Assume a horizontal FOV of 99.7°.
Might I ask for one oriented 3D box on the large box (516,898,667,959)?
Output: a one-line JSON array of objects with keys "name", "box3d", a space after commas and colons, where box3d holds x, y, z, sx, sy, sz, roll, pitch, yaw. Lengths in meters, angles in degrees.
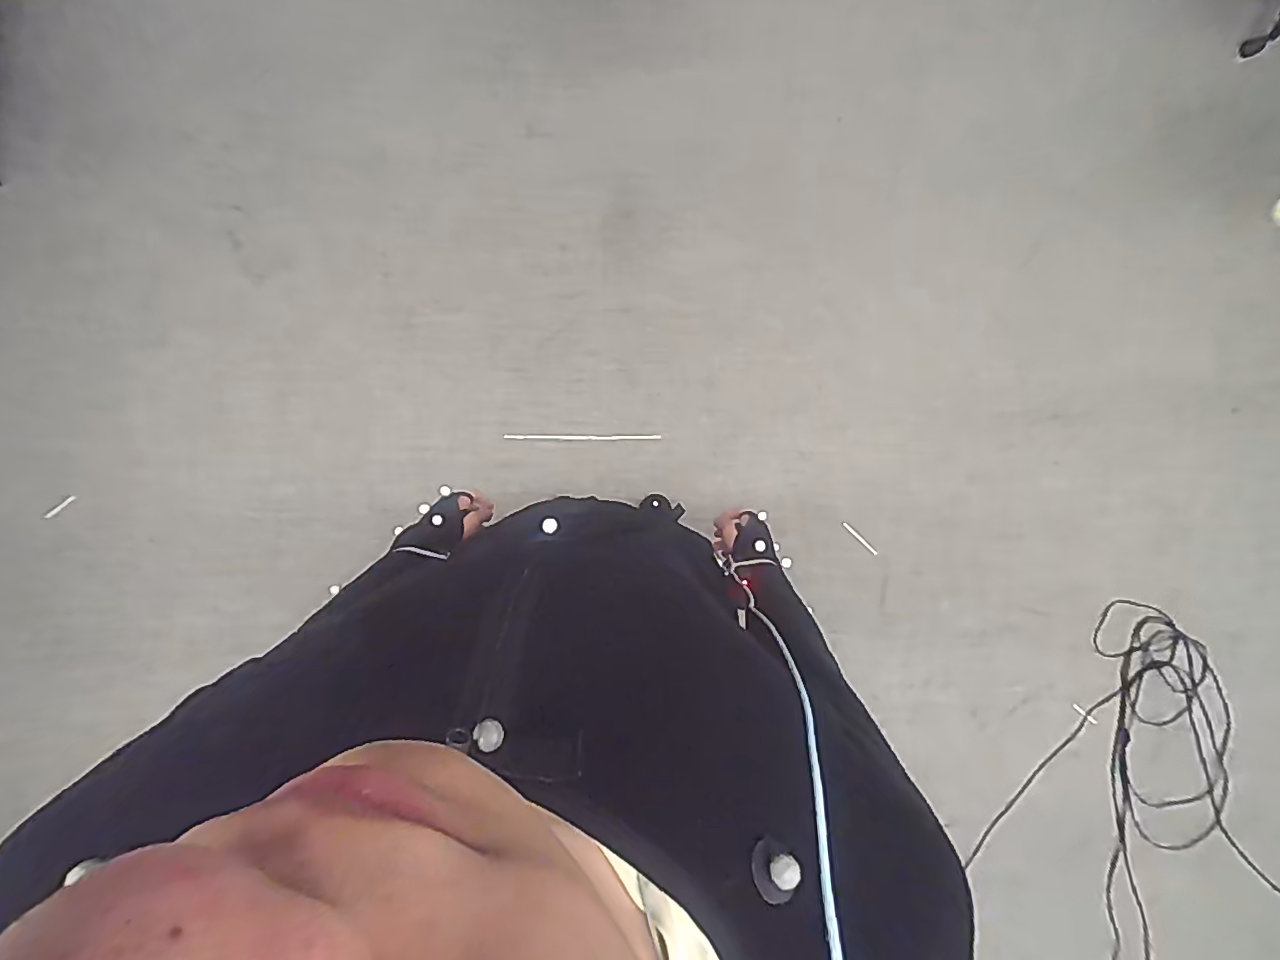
[{"name": "large box", "box3d": [-0.121, 1.417, 1.457, 0.408, 0.320, 0.320, -8, 88, -1]}]
